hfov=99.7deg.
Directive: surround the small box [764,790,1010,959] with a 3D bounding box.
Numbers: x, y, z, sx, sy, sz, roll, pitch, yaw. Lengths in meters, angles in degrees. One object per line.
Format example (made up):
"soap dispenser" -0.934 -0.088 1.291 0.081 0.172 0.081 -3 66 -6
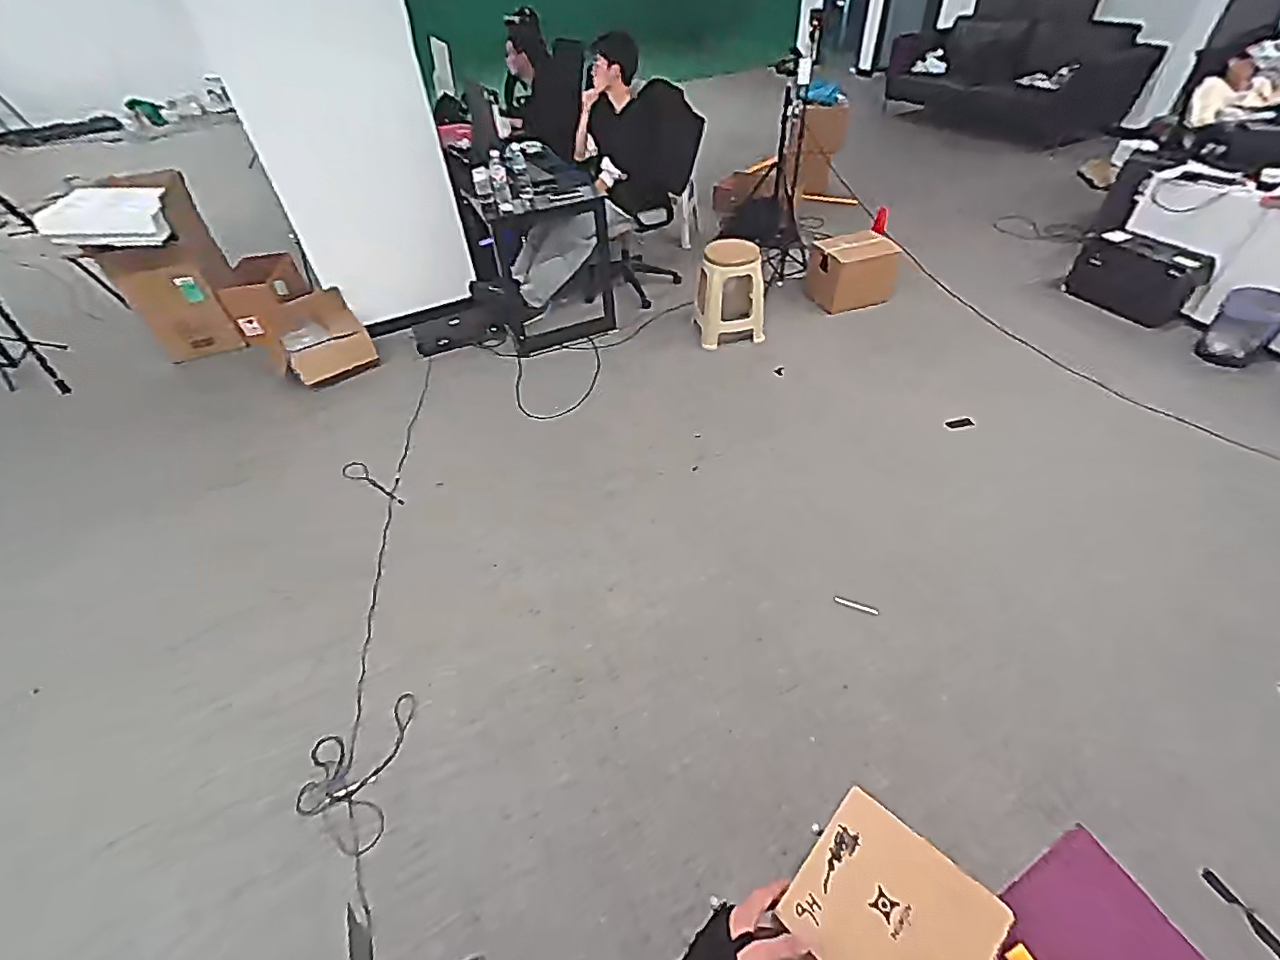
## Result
"small box" 0.257 0.492 0.600 0.179 0.176 0.168 32 58 33
